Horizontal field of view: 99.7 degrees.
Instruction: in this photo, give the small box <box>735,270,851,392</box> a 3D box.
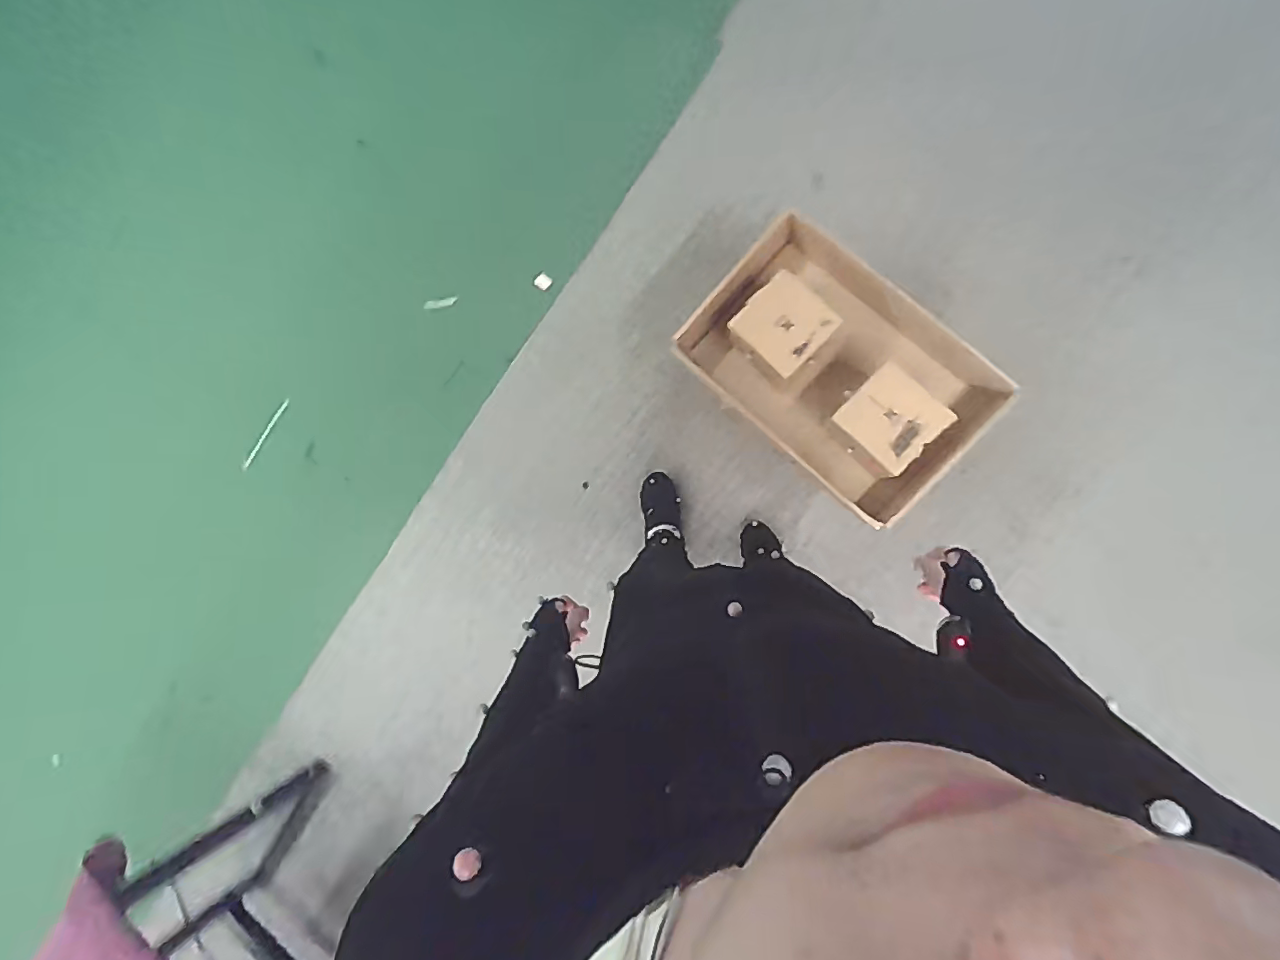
[{"bbox_3d":[0.331,-0.319,1.199,0.168,0.176,0.179,-44,79,7],"label":"small box"}]
